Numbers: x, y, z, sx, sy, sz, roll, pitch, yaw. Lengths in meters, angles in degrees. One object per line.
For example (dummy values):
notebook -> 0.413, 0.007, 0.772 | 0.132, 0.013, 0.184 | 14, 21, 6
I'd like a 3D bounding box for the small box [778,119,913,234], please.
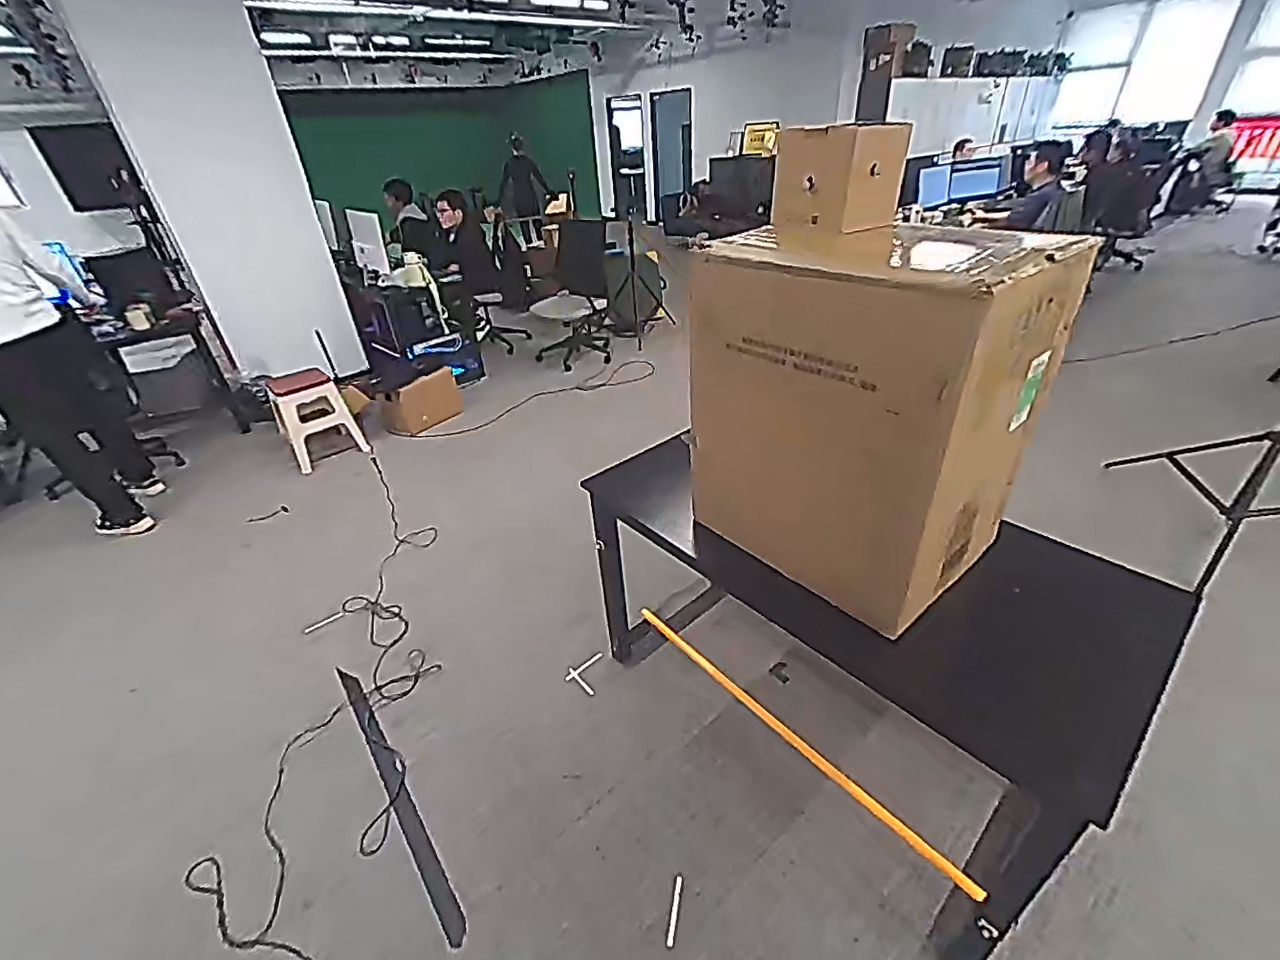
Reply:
small box -> 0.374, -0.566, 1.011 | 0.179, 0.176, 0.168 | -25, 39, -31
